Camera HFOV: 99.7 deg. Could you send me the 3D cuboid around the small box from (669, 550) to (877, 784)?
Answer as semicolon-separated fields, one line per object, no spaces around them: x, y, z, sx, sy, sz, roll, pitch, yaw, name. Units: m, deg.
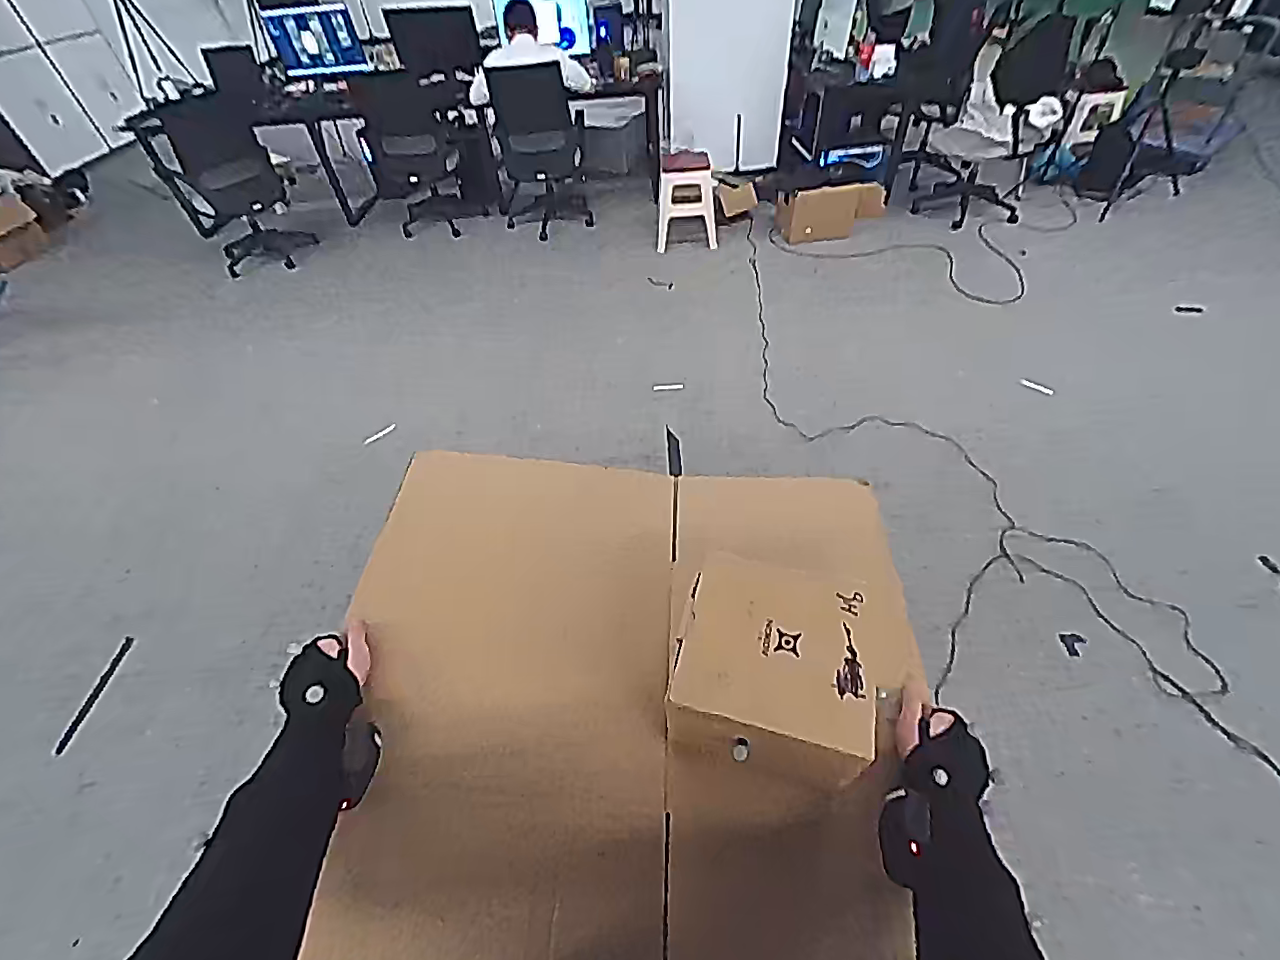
0.138;0.200;0.573;0.179;0.176;0.168;10;52;15;small box
